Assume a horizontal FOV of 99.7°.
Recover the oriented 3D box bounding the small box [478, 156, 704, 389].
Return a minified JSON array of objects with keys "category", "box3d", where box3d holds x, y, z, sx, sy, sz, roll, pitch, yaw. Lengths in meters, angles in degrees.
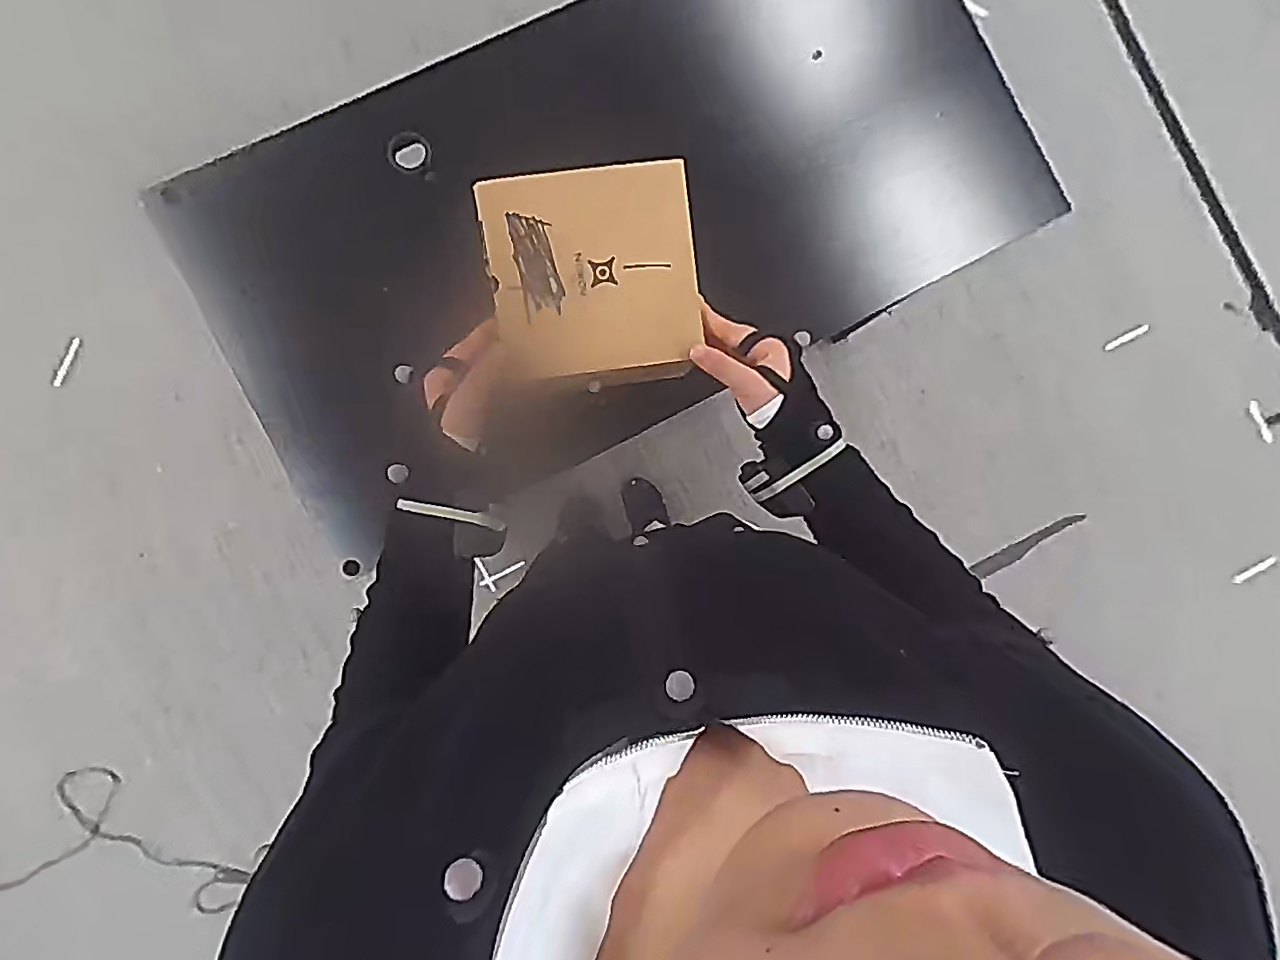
[{"category":"small box","box3d":[-0.043,-0.186,0.532,0.179,0.176,0.168,-7,96,-3]}]
